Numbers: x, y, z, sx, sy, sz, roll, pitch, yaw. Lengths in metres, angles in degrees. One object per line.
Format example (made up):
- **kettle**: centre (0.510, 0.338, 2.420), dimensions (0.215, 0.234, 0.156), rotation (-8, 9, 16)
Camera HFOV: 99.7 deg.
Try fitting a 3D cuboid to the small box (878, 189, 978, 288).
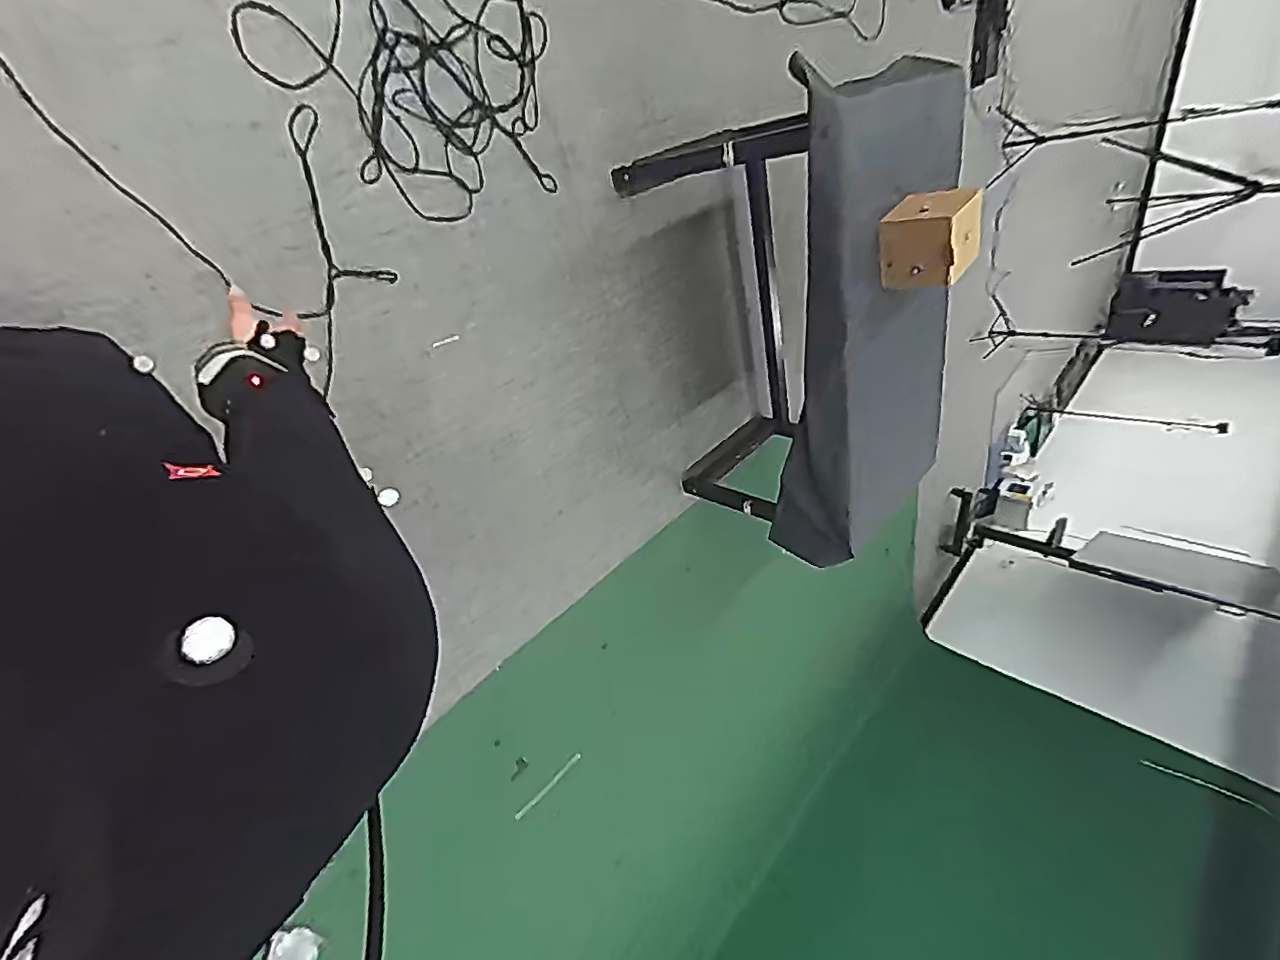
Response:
- **small box**: centre (0.694, -0.582, 1.314), dimensions (0.179, 0.176, 0.168), rotation (-45, 133, -27)
